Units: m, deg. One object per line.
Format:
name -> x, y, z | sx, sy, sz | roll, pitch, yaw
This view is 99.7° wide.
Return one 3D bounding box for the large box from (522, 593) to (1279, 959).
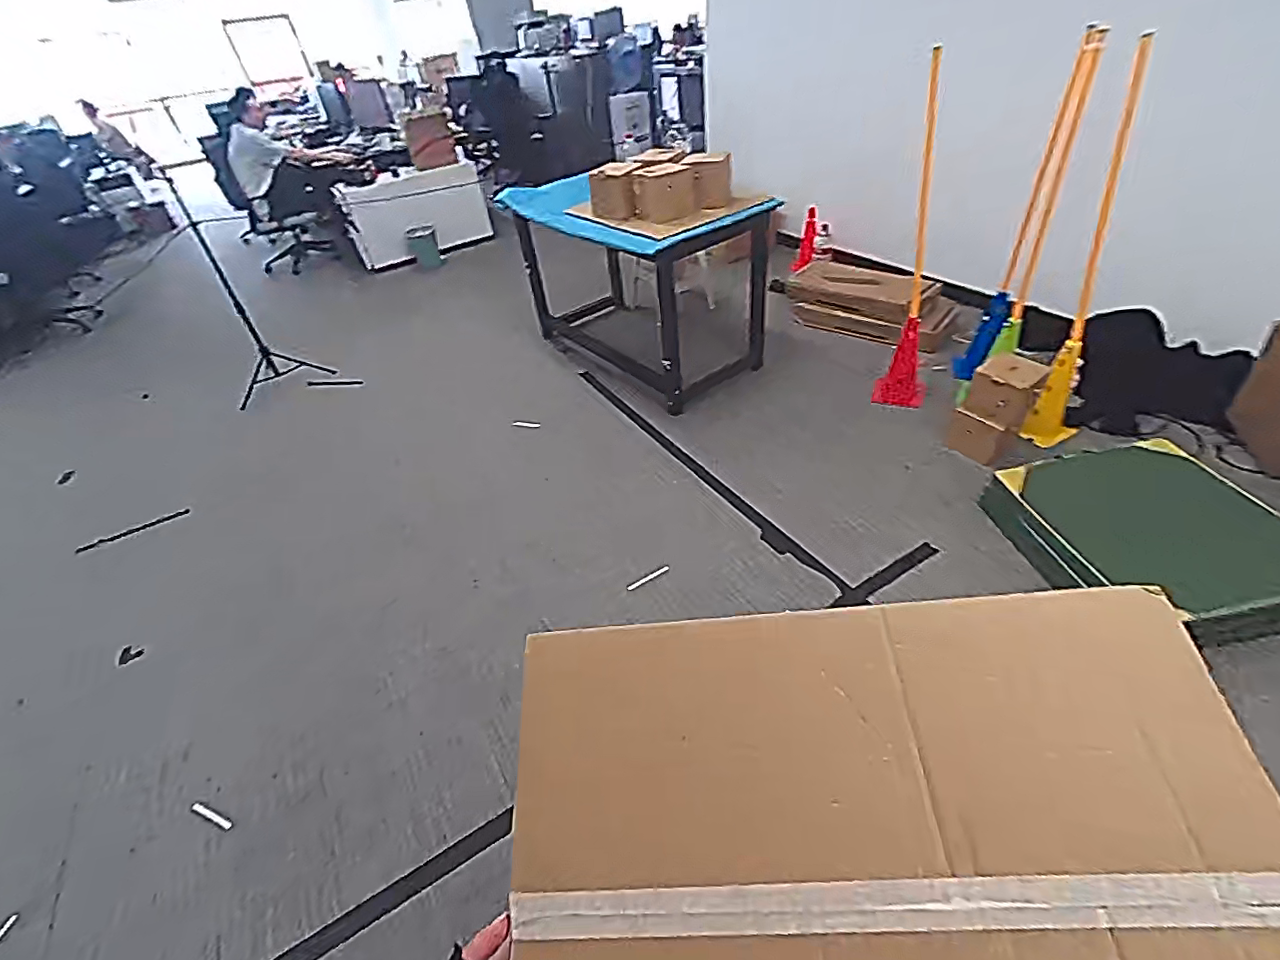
large box -> 0.151, 0.302, 0.416 | 0.408, 0.320, 0.320 | -7, 61, 7
